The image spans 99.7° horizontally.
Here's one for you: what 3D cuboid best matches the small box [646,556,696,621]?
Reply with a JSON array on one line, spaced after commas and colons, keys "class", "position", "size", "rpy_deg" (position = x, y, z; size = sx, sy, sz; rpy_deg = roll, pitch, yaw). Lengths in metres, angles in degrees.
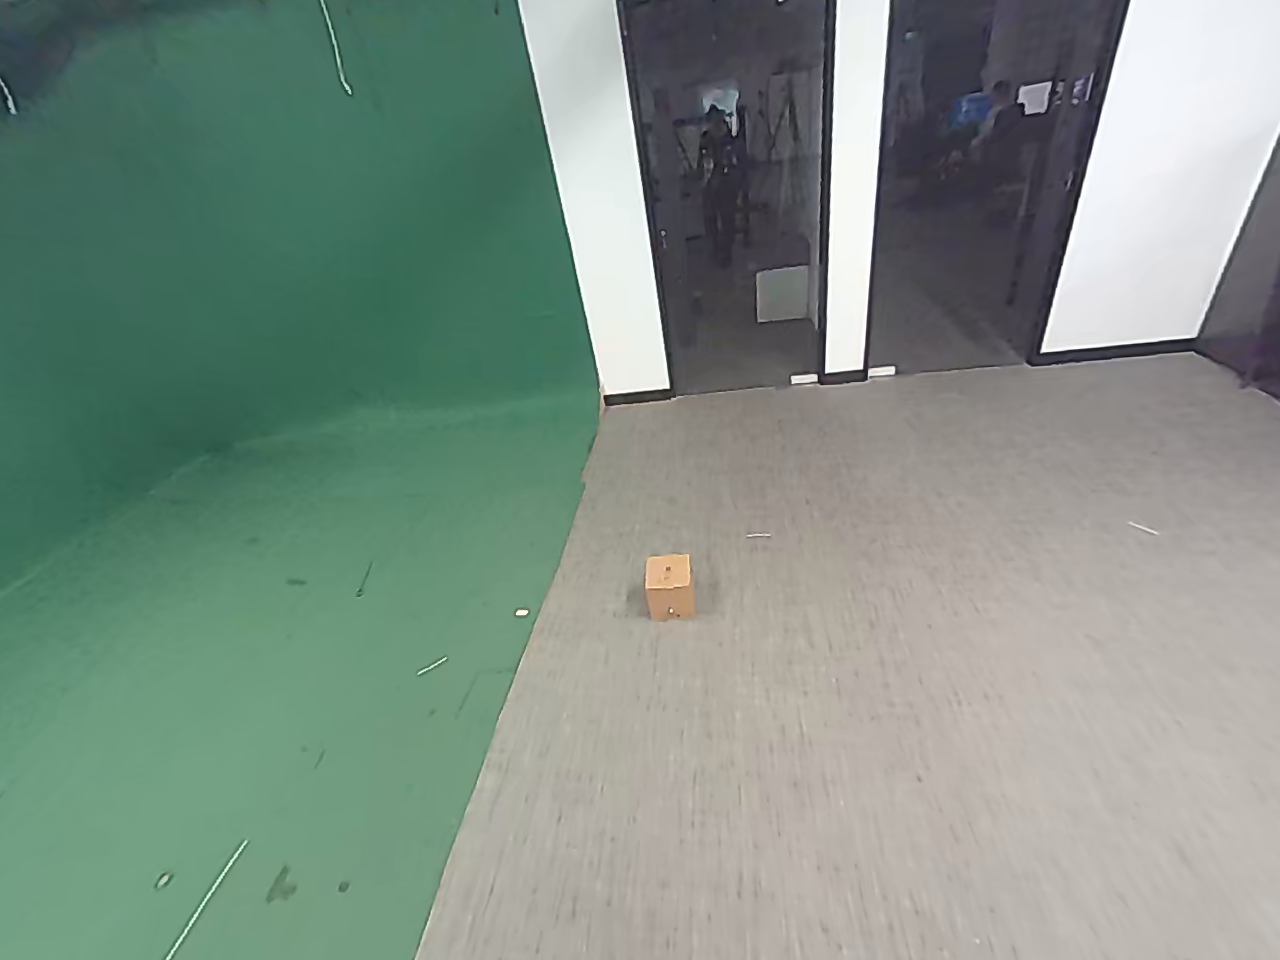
[{"class": "small box", "position": [0.119, 0.409, 2.035], "size": [0.168, 0.176, 0.179], "rpy_deg": [-6, 33, 8]}]
